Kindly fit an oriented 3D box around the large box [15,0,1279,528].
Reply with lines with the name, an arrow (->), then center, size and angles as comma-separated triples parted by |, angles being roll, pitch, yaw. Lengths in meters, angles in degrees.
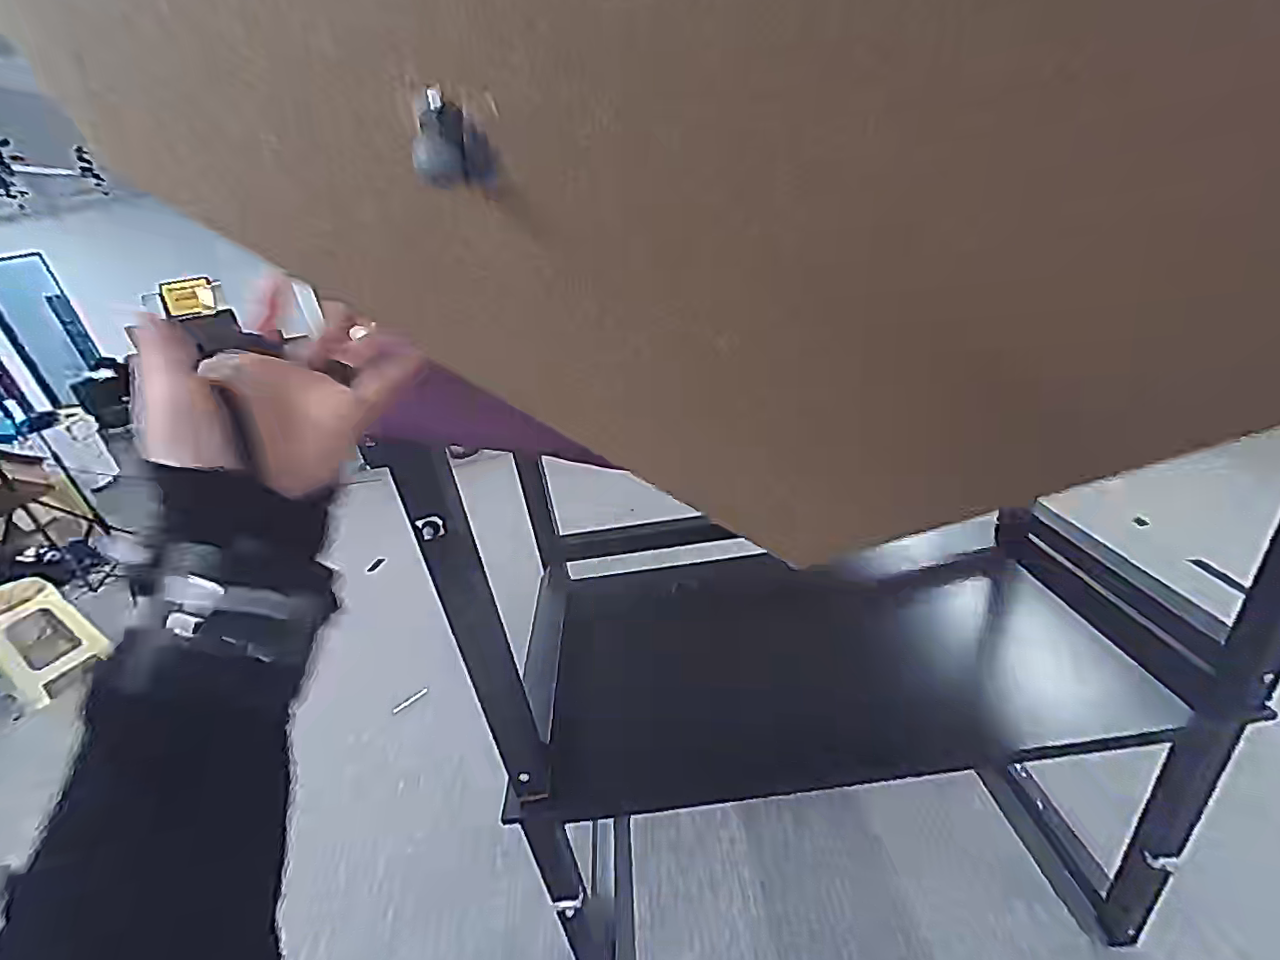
large box -> 0.018, -0.231, 0.202 | 0.408, 0.320, 0.320 | 29, 66, -4
